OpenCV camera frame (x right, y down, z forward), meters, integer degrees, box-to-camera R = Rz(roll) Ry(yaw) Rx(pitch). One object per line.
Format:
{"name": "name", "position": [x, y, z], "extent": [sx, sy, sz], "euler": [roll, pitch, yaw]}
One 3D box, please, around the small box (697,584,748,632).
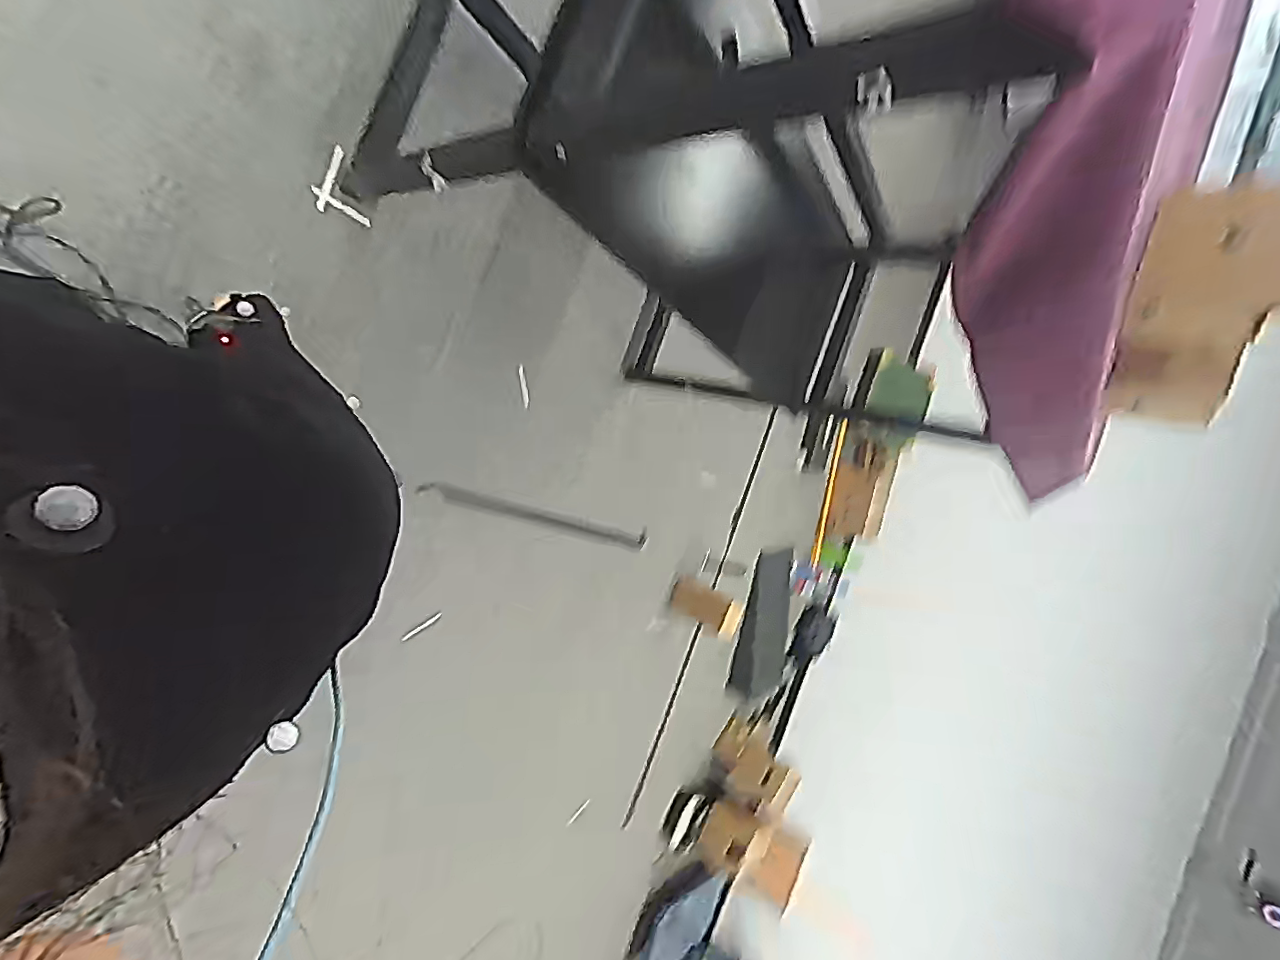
{"name": "small box", "position": [0.413, 0.649, 2.736], "extent": [0.168, 0.176, 0.179], "euler": [28, 83, -51]}

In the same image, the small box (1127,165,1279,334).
{"name": "small box", "position": [0.862, -0.335, 0.807], "extent": [0.168, 0.176, 0.179], "euler": [14, 93, -51]}

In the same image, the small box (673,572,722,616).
{"name": "small box", "position": [0.297, 0.602, 2.842], "extent": [0.168, 0.176, 0.179], "euler": [23, 89, -51]}

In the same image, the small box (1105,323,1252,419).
{"name": "small box", "position": [1.052, -0.242, 1.063], "extent": [0.168, 0.176, 0.179], "euler": [27, 83, -50]}
